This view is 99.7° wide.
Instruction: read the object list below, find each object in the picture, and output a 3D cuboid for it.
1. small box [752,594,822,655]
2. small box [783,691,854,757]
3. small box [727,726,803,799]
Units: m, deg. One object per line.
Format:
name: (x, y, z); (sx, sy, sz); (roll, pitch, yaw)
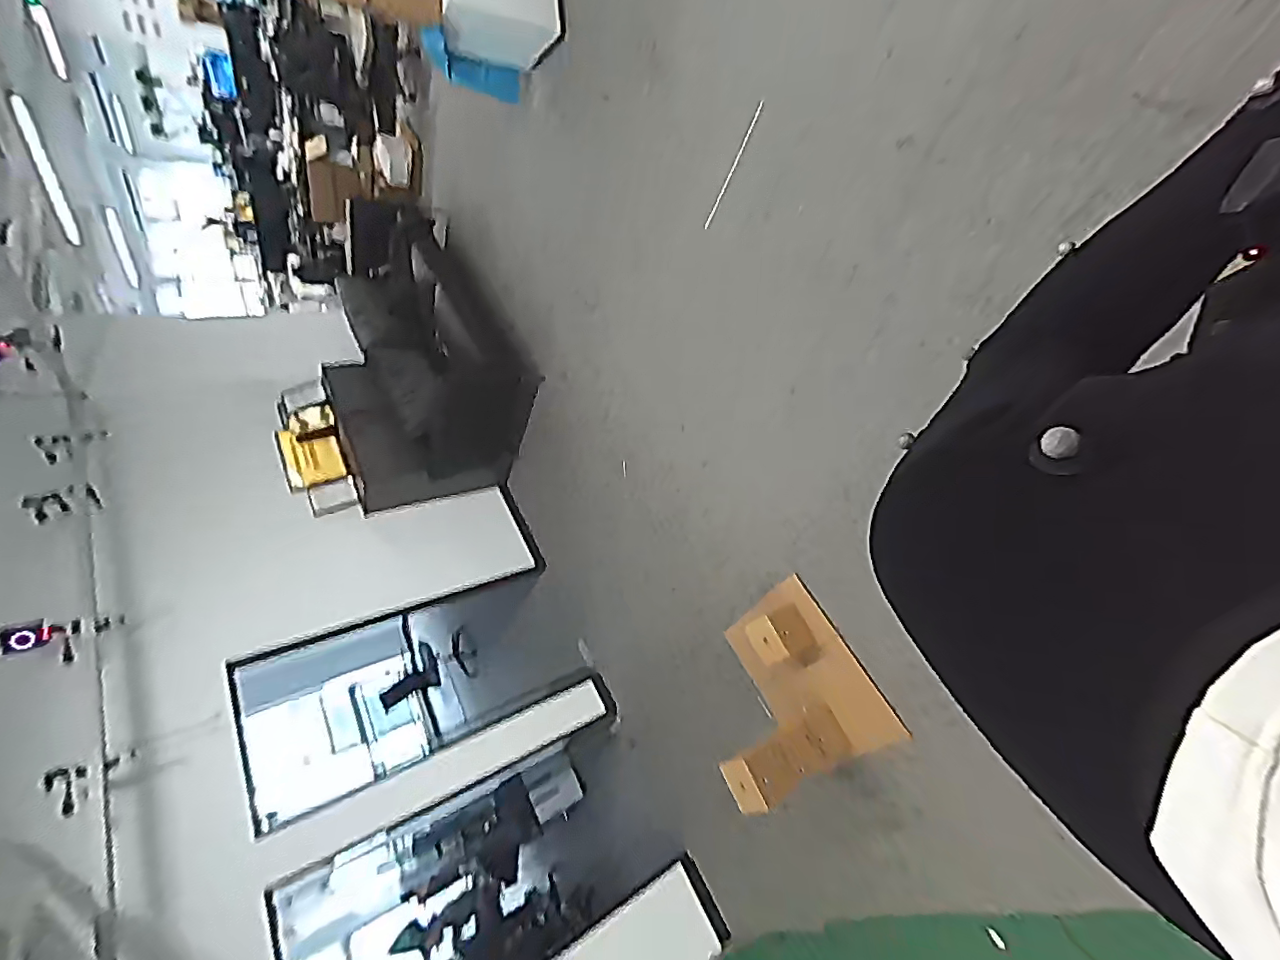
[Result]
small box: (0.599, 0.583, 2.205); (0.179, 0.176, 0.168); (61, 144, 19)
small box: (0.720, 0.978, 2.168); (0.179, 0.176, 0.168); (62, 144, 21)
small box: (0.460, 1.031, 1.976); (0.179, 0.176, 0.168); (63, 143, 19)
